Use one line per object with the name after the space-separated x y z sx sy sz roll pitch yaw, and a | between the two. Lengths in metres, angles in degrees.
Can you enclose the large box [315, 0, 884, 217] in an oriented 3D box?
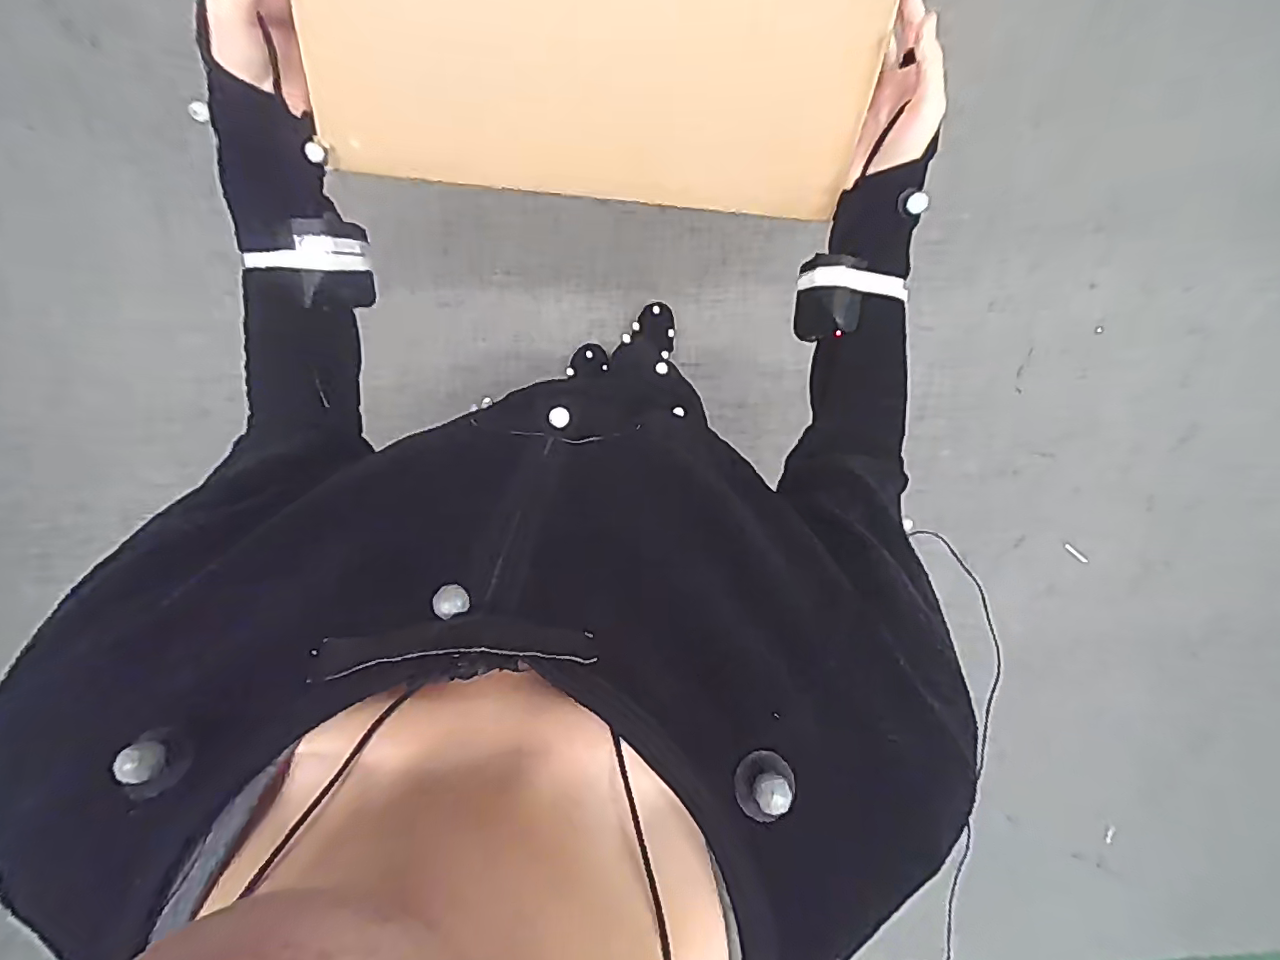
-0.032 -0.443 0.480 0.408 0.320 0.320 1 124 -10 | large box
